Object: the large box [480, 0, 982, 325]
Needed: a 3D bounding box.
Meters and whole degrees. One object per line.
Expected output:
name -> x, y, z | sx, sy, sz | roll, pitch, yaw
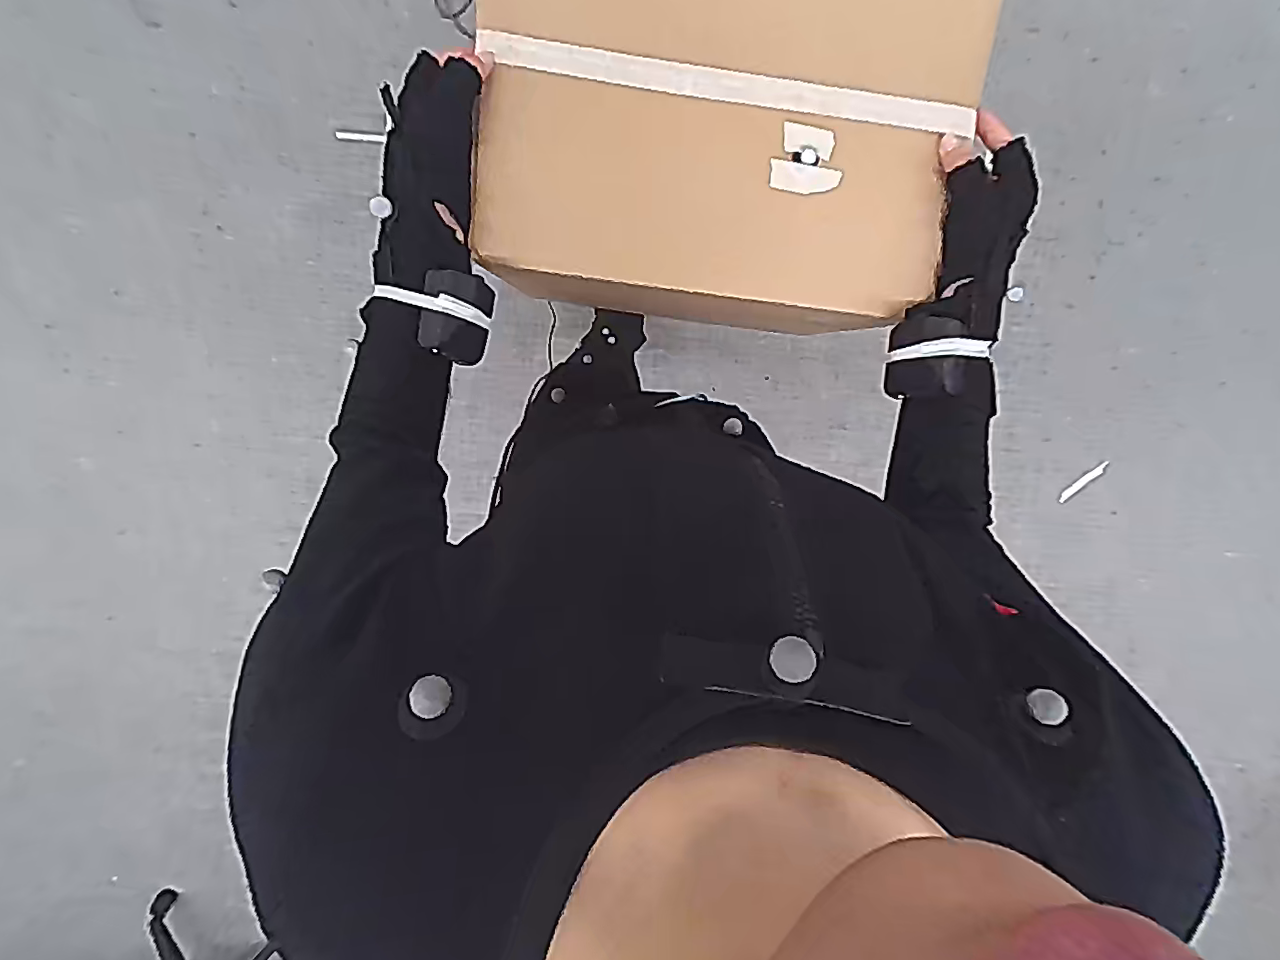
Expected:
large box -> 0.063, -0.357, 0.593 | 0.408, 0.320, 0.320 | 6, 104, -5
